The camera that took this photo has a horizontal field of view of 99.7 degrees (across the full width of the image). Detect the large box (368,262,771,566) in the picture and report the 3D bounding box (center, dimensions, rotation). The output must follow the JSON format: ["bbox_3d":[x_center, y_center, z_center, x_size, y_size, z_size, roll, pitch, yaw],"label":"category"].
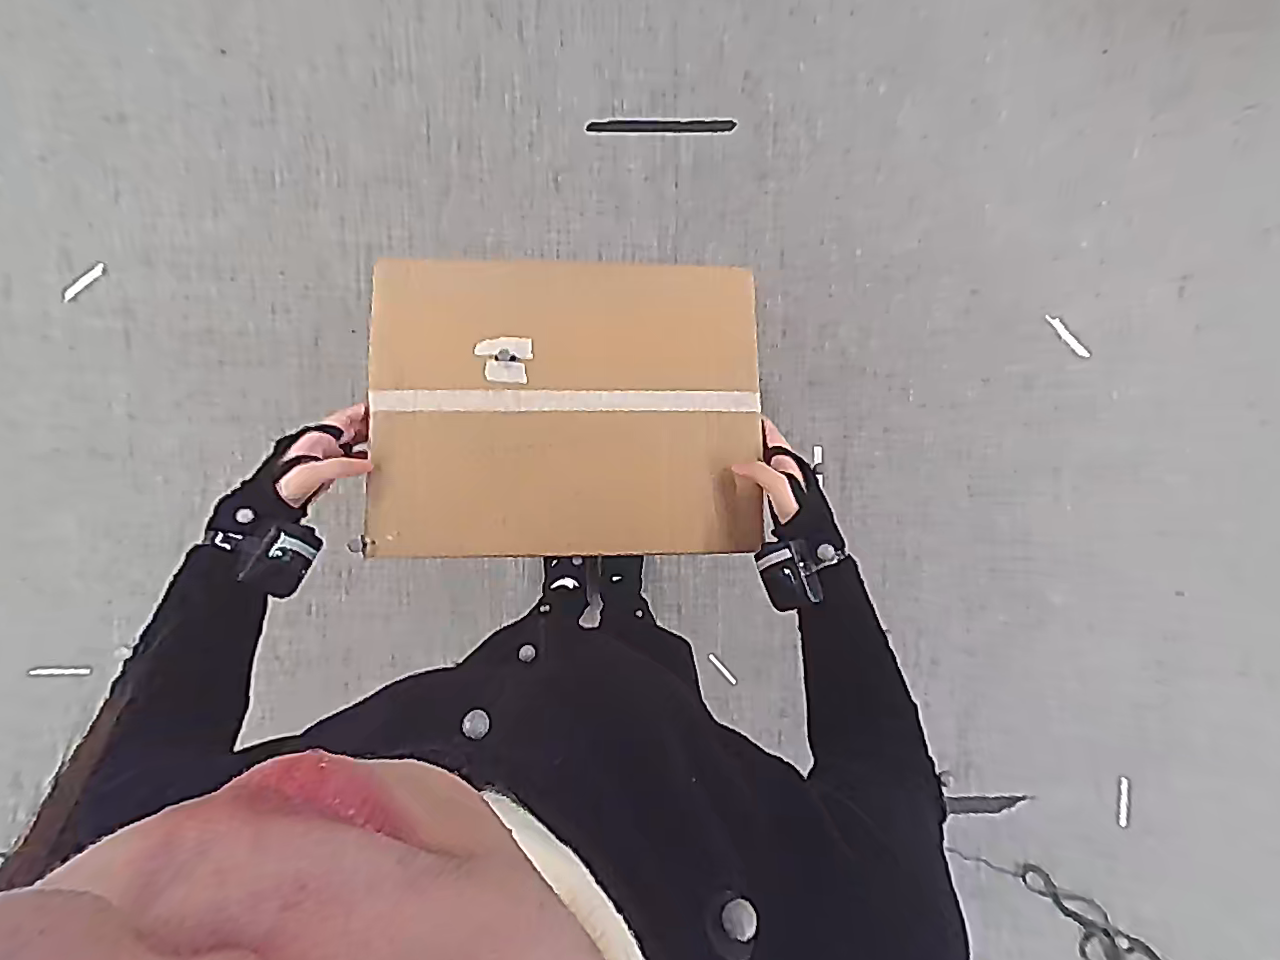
[{"bbox_3d":[-0.076,-0.060,0.695,0.408,0.320,0.320,0,84,-4],"label":"large box"}]
